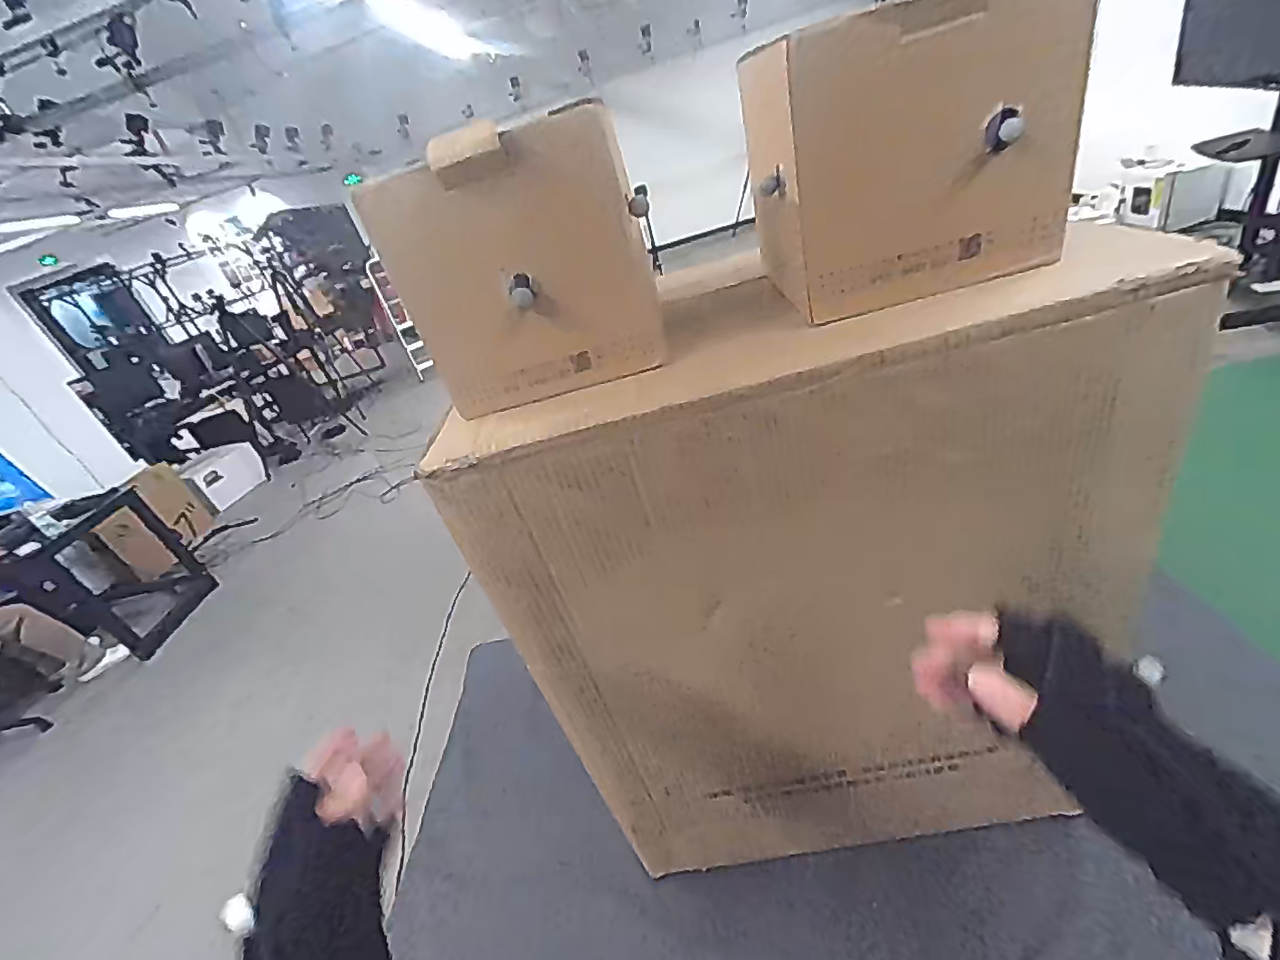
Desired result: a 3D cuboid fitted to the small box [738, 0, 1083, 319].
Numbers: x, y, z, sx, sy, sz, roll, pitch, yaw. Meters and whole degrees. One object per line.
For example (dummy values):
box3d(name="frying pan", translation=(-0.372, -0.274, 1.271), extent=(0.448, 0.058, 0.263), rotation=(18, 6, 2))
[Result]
box3d(name="small box", translation=(0.178, -0.231, 0.401), extent=(0.168, 0.176, 0.179), rotation=(-12, 31, 6))

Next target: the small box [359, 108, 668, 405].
box3d(name="small box", translation=(-0.077, -0.174, 0.435), extent=(0.168, 0.176, 0.179), rotation=(-13, 33, 7))
